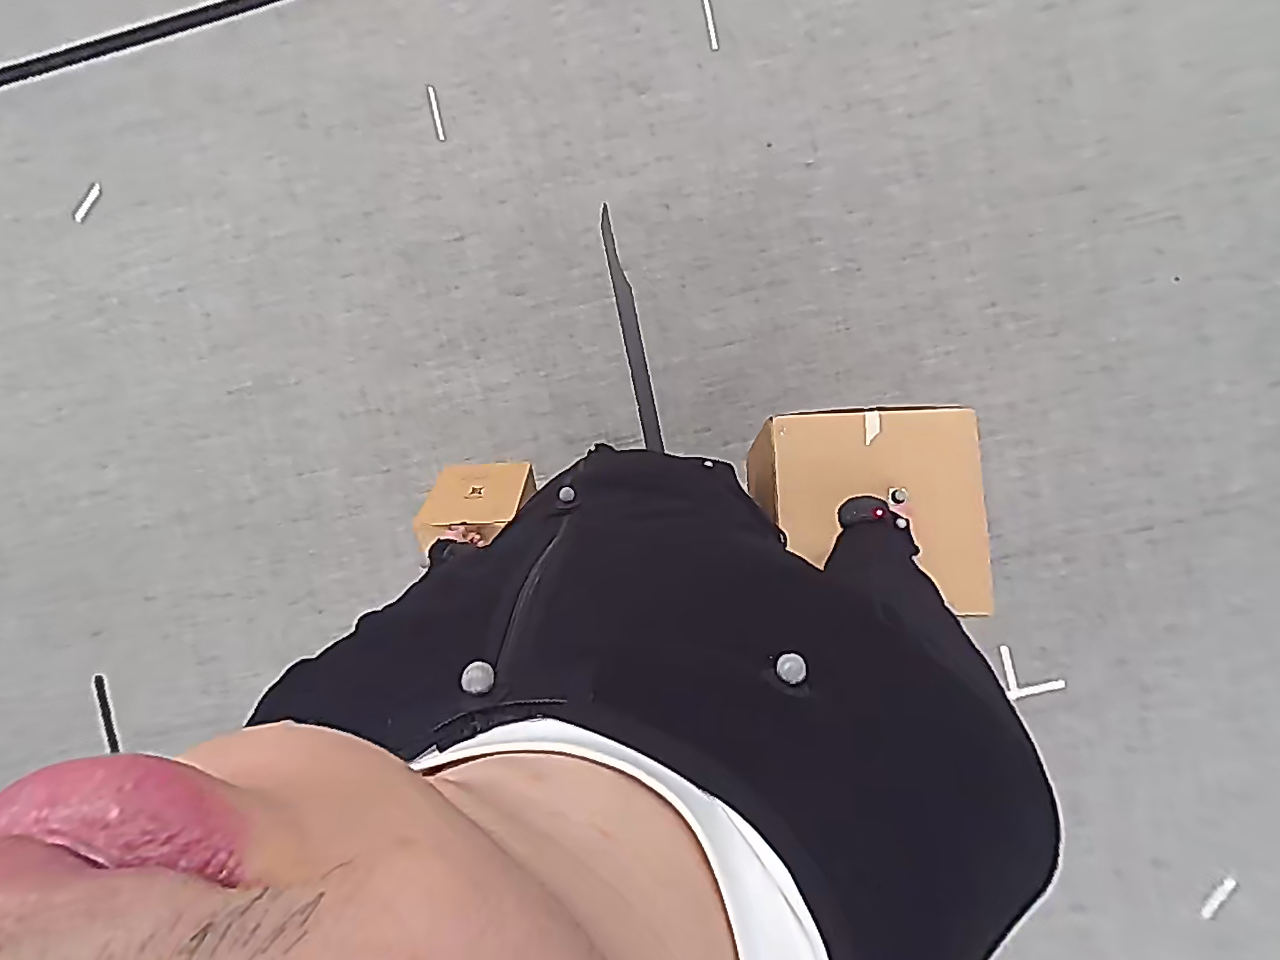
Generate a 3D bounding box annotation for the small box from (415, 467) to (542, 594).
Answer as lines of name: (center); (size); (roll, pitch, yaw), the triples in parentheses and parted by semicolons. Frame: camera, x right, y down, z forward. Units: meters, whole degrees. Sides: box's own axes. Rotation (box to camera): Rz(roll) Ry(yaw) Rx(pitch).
small box: (-0.282, 0.095, 0.991); (0.168, 0.179, 0.176); (-2, 124, 2)
